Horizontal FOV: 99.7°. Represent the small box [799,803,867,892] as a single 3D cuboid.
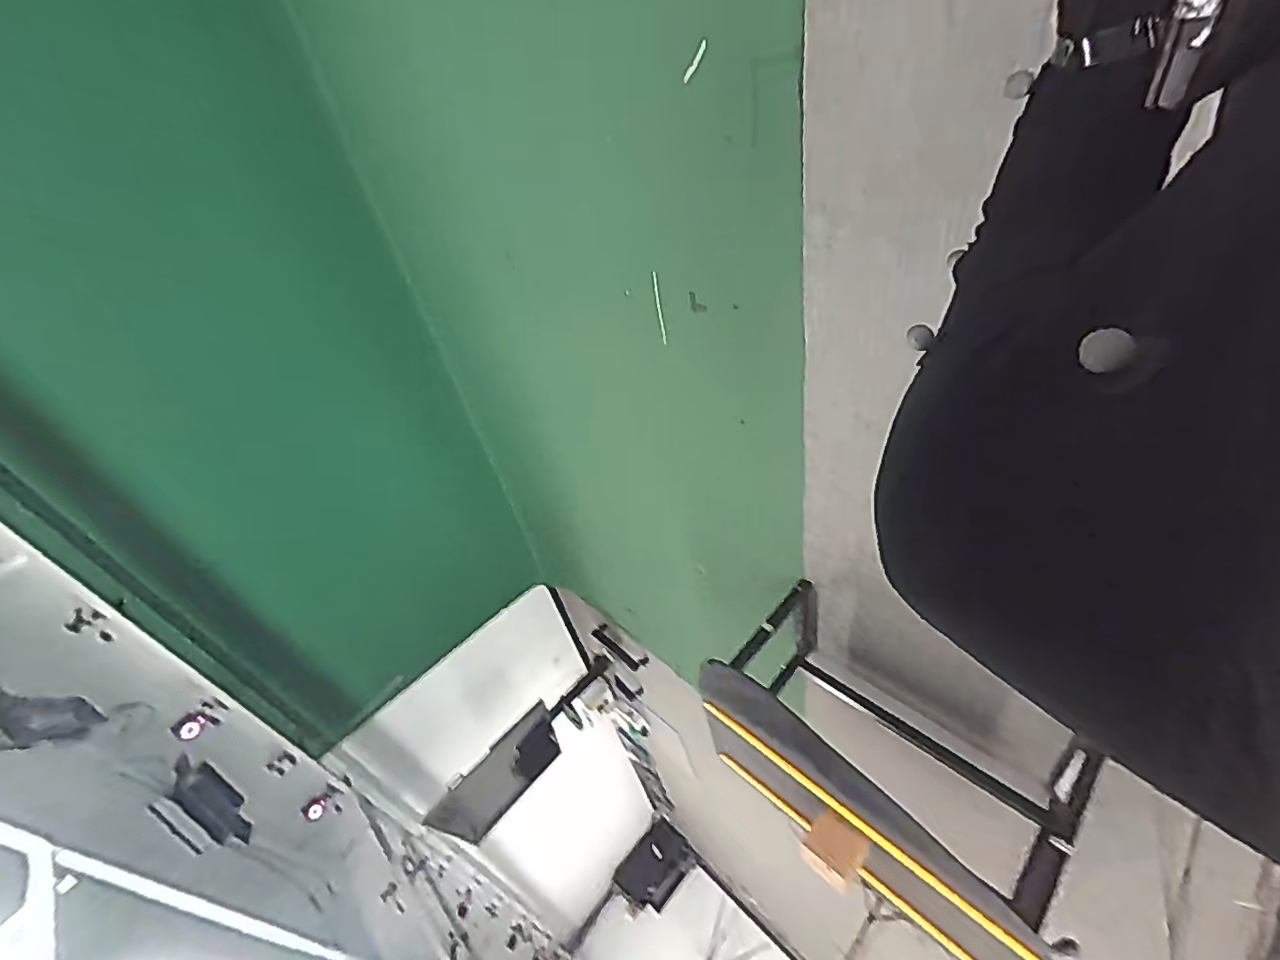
[{"bbox_3d":[0.677,1.282,1.893,0.168,0.176,0.179,24,143,41],"label":"small box"}]
